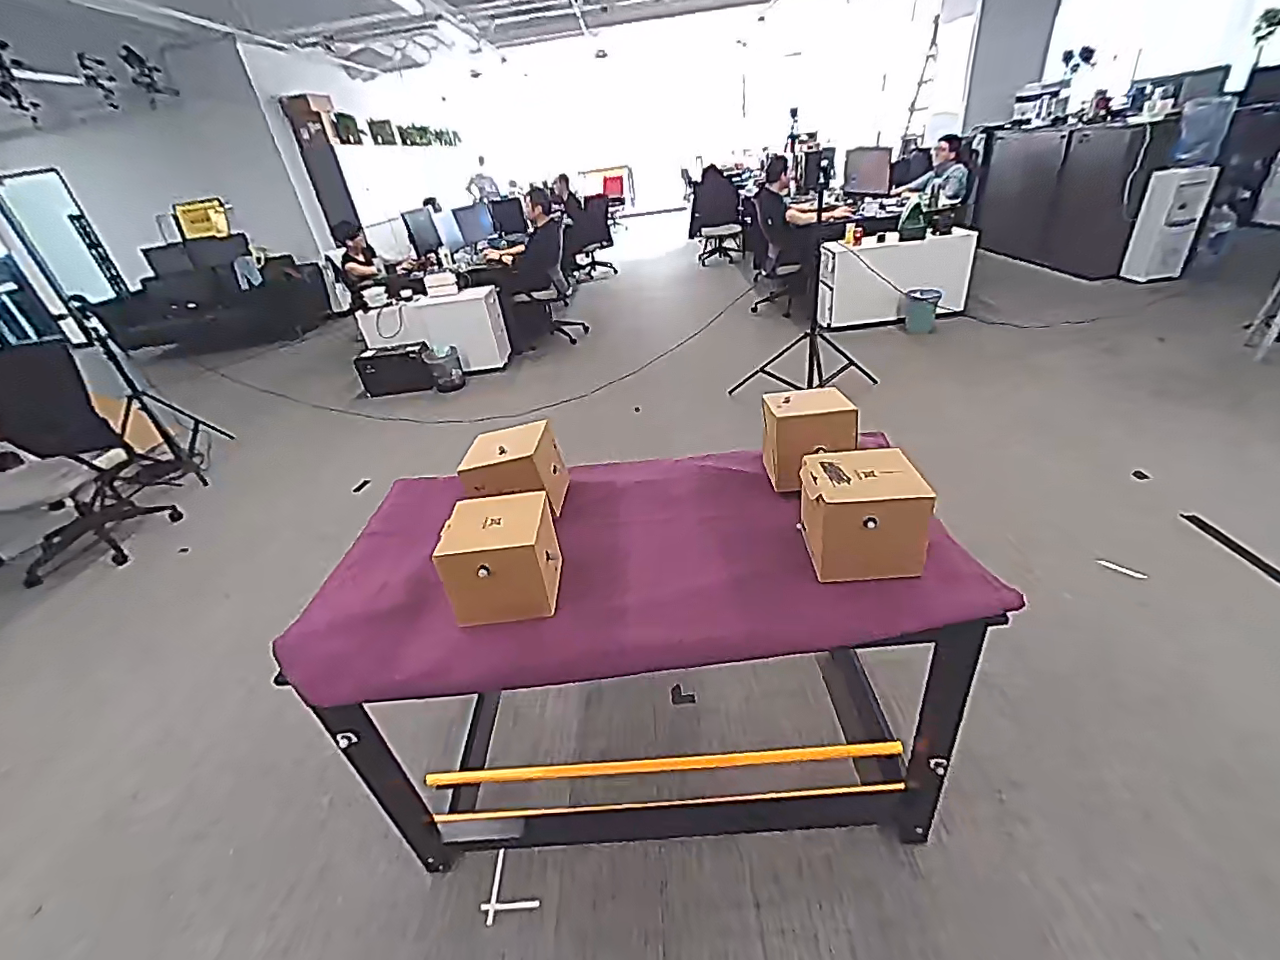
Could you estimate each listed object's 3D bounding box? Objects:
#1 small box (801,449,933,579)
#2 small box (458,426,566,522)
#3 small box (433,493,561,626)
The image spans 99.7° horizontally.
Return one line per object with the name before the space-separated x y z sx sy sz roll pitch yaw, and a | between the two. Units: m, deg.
small box | 0.393 0.062 0.966 0.179 0.176 0.168 -5 30 6
small box | -0.276 -0.006 1.219 0.179 0.168 0.176 -11 29 10
small box | -0.248 0.146 0.991 0.179 0.176 0.168 -7 31 2
